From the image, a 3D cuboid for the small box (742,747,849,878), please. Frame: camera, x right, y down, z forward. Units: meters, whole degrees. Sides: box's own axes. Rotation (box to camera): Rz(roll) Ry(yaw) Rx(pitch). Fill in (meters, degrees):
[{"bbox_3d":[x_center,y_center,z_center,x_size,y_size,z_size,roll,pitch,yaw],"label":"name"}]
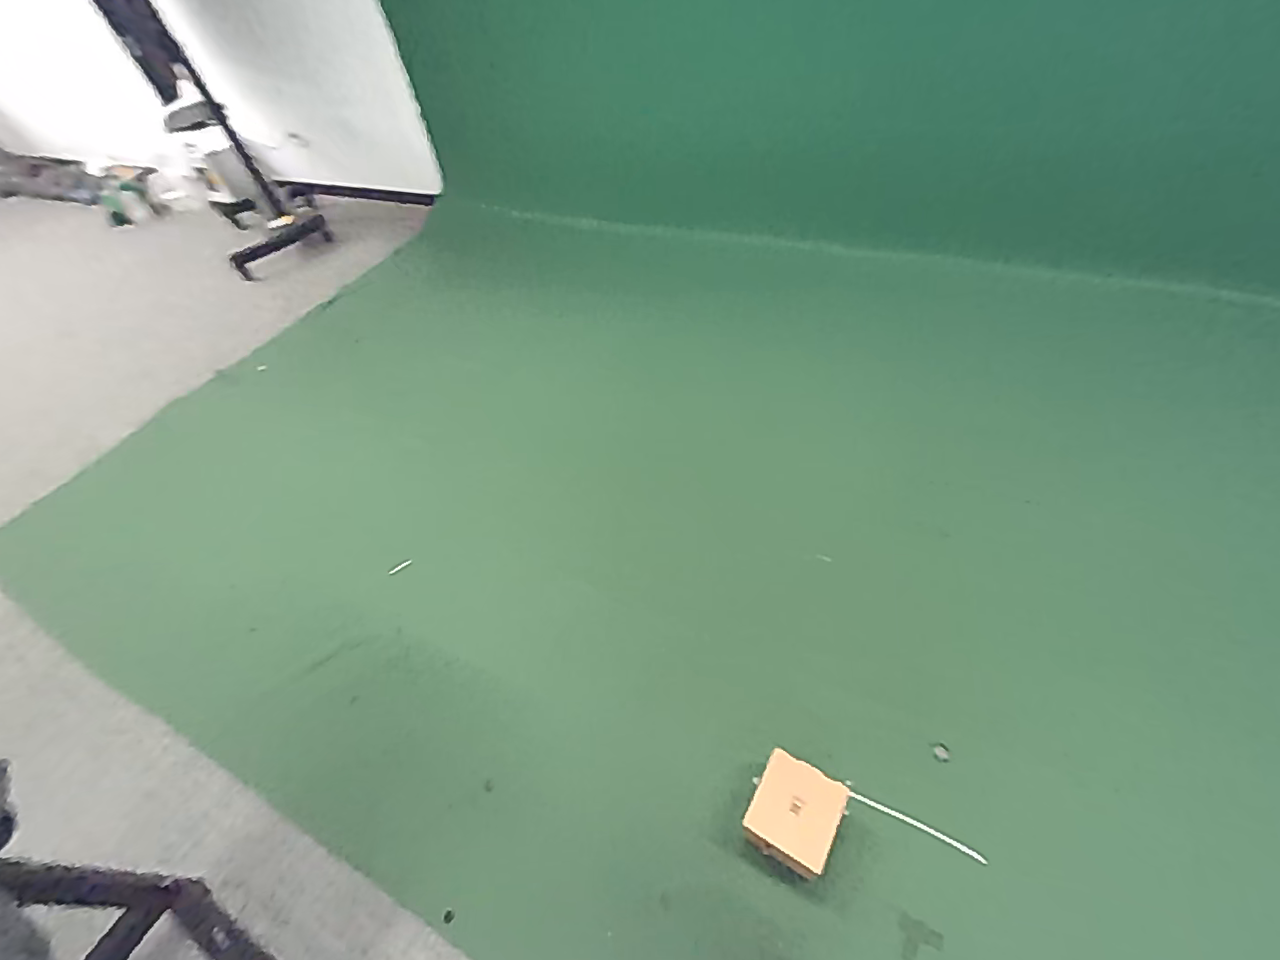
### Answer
[{"bbox_3d":[0.334,0.725,1.174,0.168,0.176,0.179,22,56,26],"label":"small box"}]
